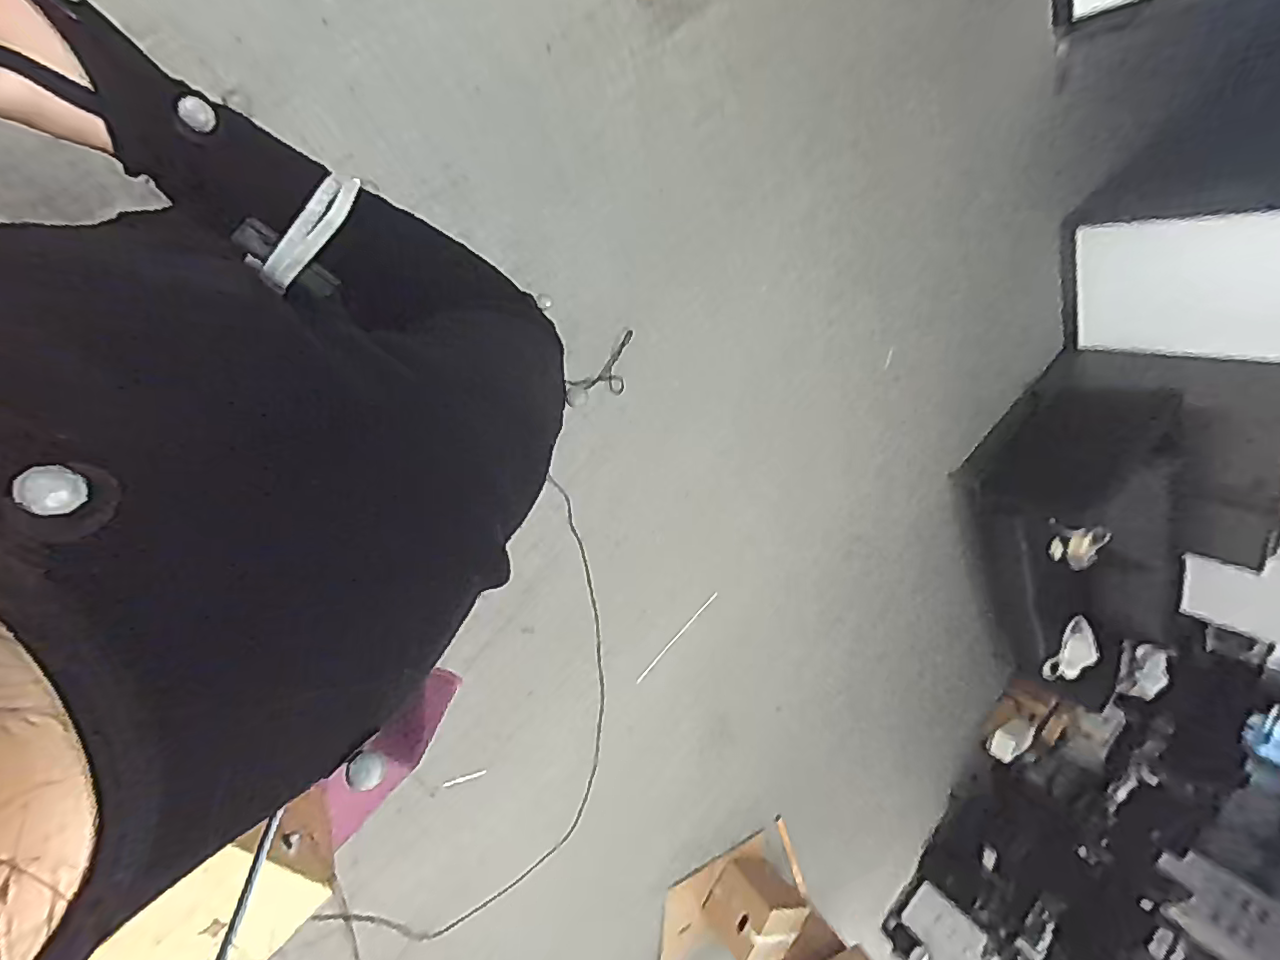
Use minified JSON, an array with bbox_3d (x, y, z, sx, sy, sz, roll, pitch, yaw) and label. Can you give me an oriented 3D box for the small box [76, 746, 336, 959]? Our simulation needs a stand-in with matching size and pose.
[{"bbox_3d":[-0.517,0.475,0.674,0.168,0.176,0.179,-41,124,-16],"label":"small box"}]
